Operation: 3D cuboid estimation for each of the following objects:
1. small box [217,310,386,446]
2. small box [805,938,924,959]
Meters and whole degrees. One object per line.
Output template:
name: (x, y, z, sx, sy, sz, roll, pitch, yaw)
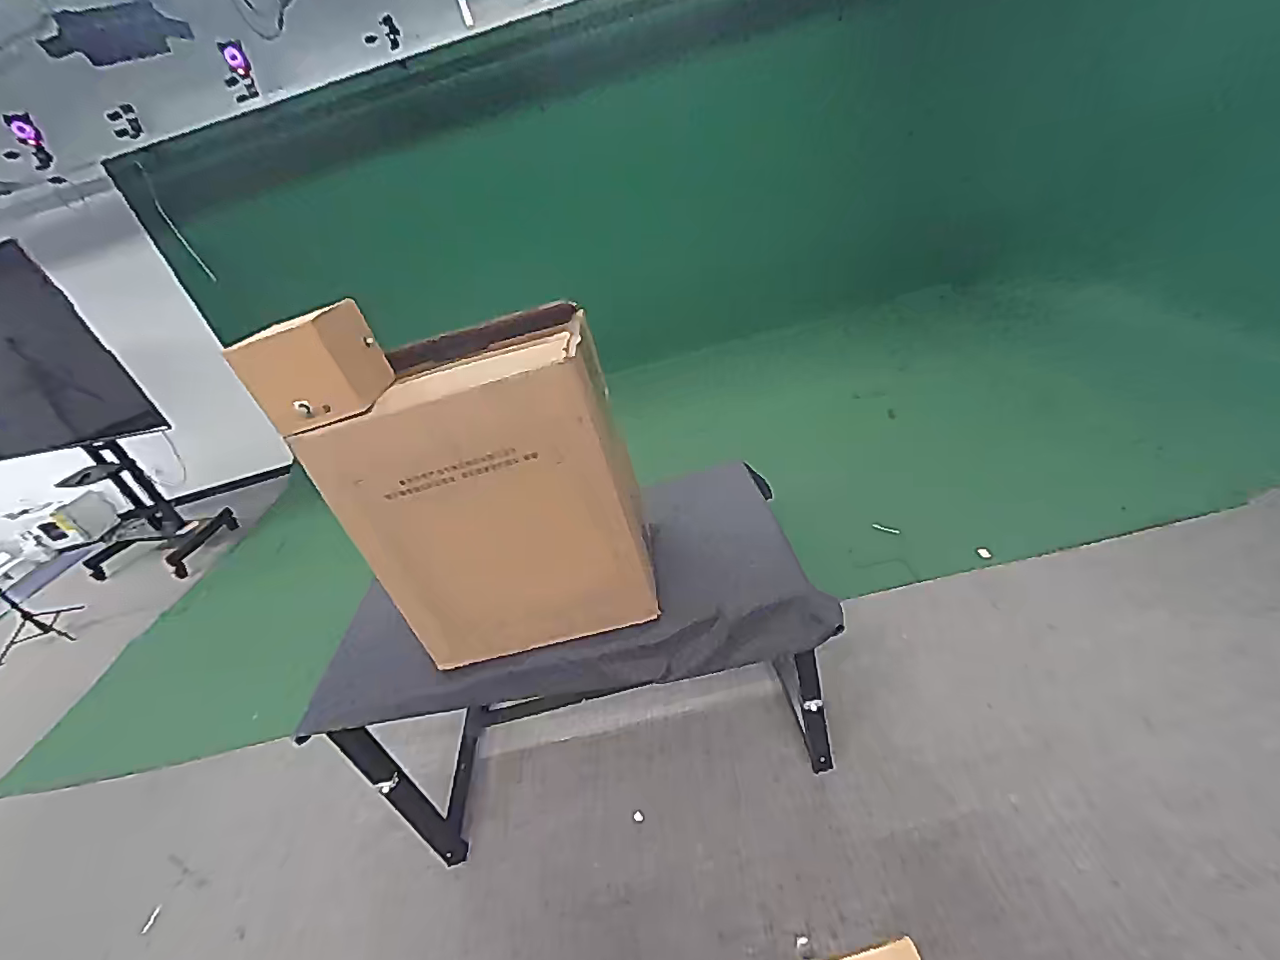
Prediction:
small box: (-0.592, -0.185, 0.978, 0.168, 0.176, 0.179, -19, 30, 4)
small box: (0.163, 0.479, 0.409, 0.168, 0.176, 0.179, -17, 47, -1)
